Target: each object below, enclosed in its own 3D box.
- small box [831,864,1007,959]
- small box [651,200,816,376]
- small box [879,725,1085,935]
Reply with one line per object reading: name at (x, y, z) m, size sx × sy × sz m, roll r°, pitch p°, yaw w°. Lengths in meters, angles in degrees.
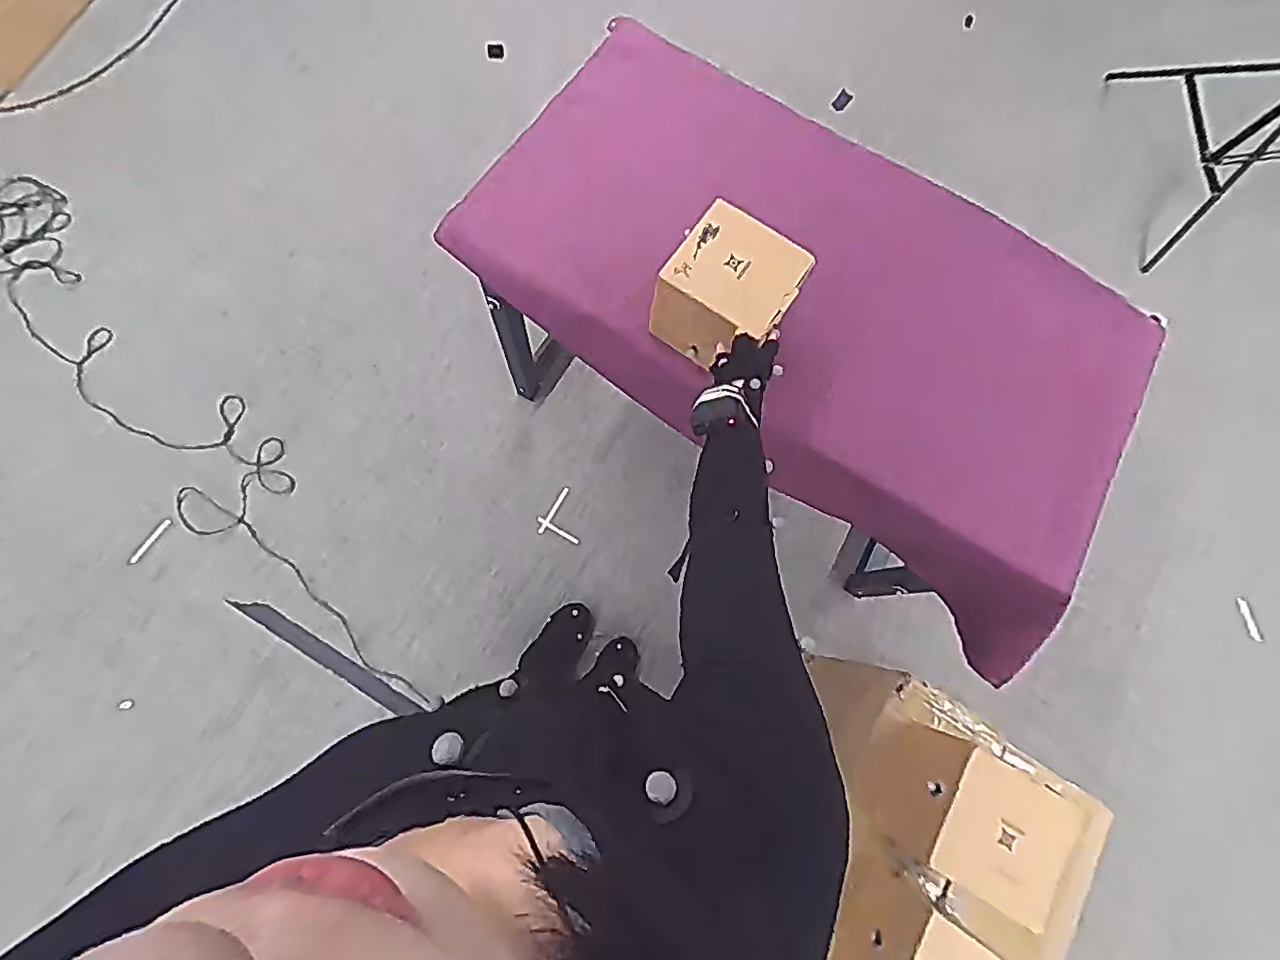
small box at (0.389, 0.682, 0.737) m, size 0.168 × 0.176 × 0.179 m, roll 35°, pitch 73°, yaw 5°
small box at (0.138, -0.290, 0.862) m, size 0.179 × 0.176 × 0.168 m, roll 35°, pitch 74°, yaw 4°
small box at (0.487, 0.492, 0.797) m, size 0.168 × 0.176 × 0.179 m, roll 31°, pitch 77°, yaw 5°
